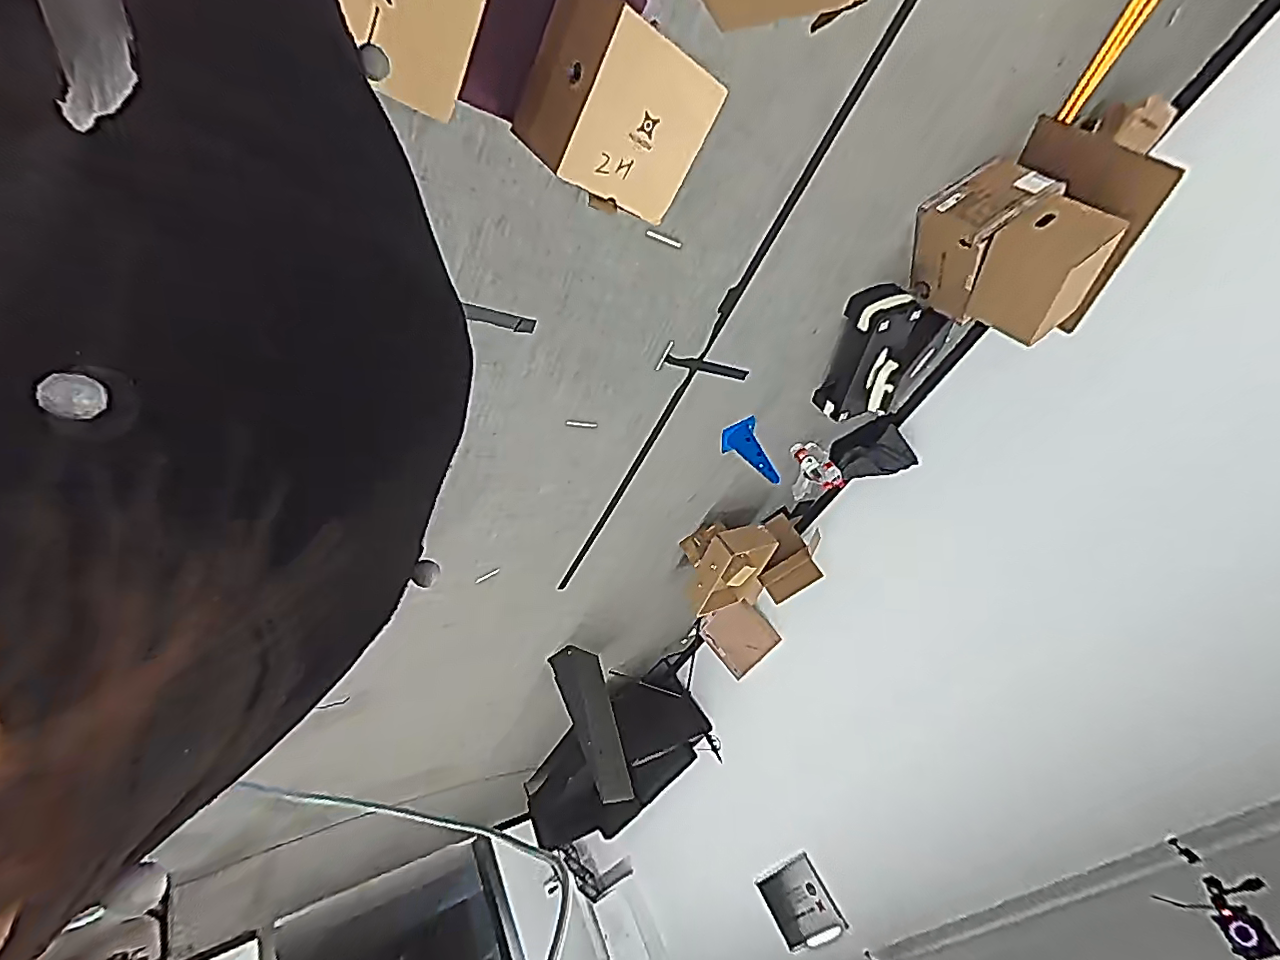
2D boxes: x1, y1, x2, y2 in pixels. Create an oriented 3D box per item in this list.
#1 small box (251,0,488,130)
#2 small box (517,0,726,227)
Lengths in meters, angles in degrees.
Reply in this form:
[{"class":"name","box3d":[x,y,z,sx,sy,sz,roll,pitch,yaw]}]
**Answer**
[{"class":"small box","box3d":[-0.249,-0.473,0.493,0.168,0.176,0.179,4,132,-41]},{"class":"small box","box3d":[-0.034,-0.461,0.679,0.168,0.176,0.179,5,130,-41]}]
